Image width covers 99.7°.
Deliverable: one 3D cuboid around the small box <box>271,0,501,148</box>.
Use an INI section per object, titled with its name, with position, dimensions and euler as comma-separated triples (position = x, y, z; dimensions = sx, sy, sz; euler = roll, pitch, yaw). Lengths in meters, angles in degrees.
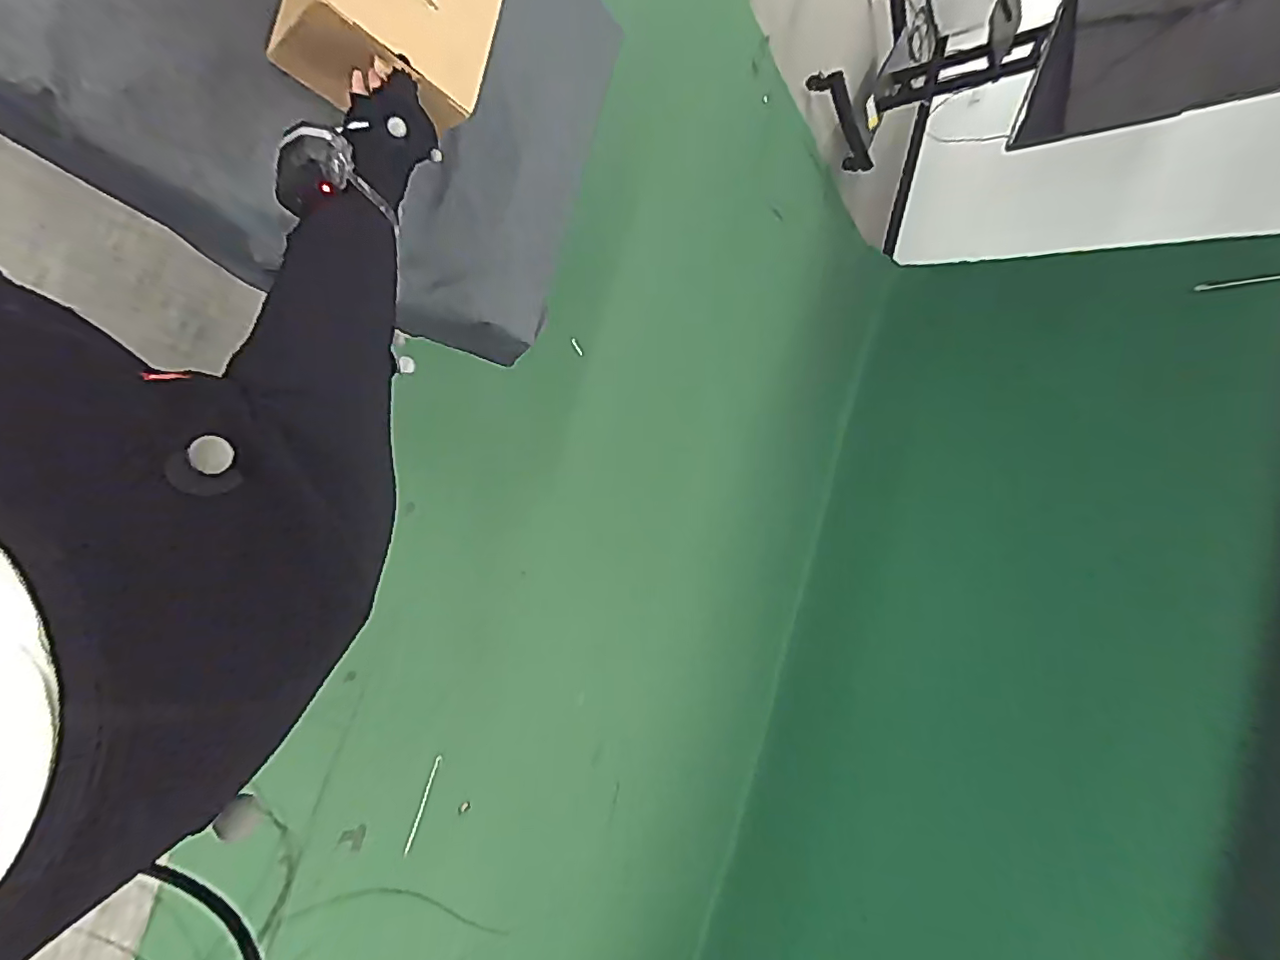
[small box]
position = -0.289, -0.519, 0.615
dimensions = 0.168, 0.176, 0.179
euler = 17, 86, -50
